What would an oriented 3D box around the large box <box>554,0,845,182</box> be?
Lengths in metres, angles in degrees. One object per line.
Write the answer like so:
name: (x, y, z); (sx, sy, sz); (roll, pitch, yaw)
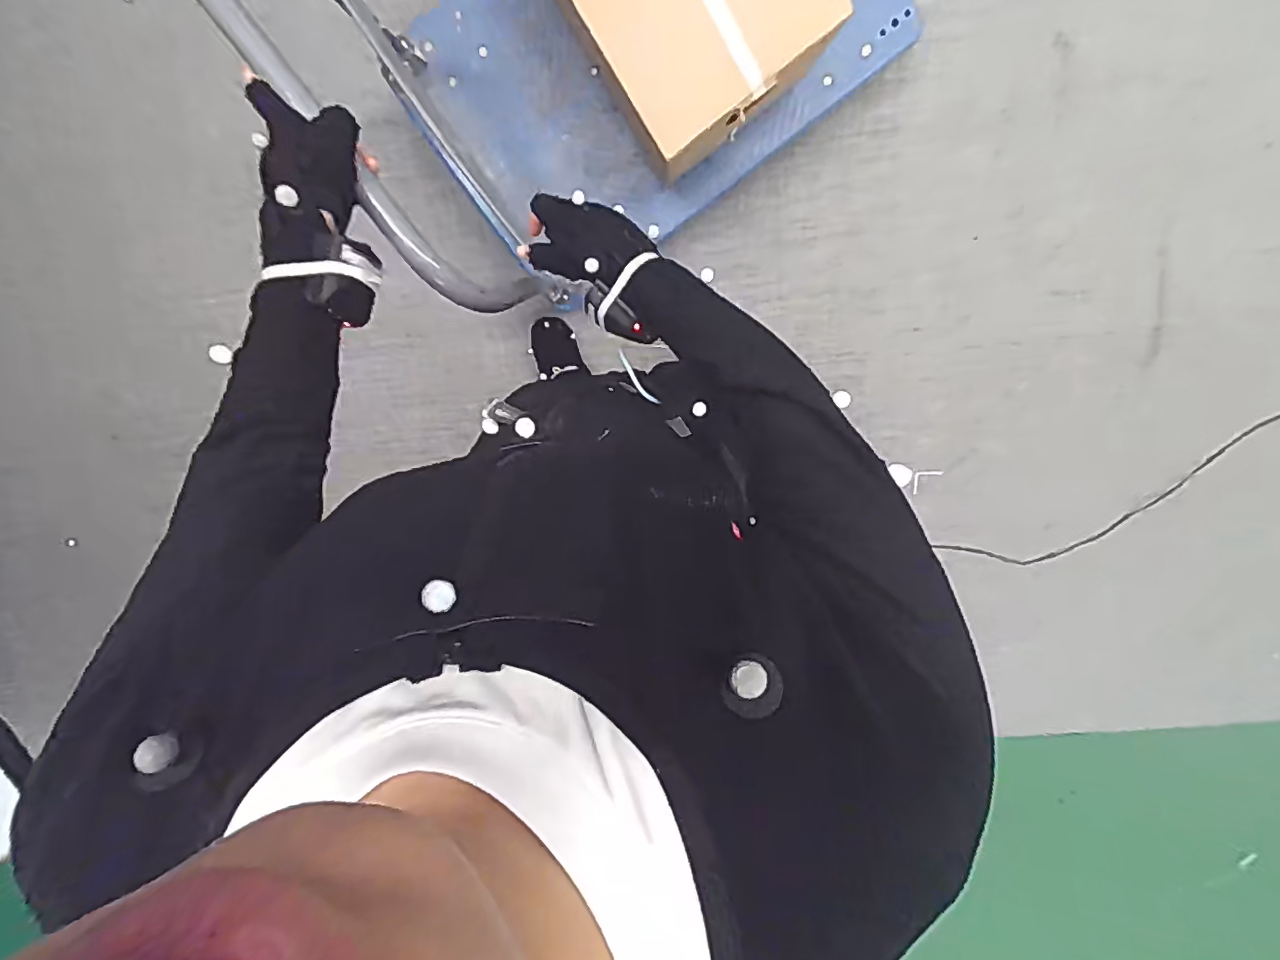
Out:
large box: (0.057, -0.775, 0.868); (0.320, 0.320, 0.408); (-32, 106, 13)
